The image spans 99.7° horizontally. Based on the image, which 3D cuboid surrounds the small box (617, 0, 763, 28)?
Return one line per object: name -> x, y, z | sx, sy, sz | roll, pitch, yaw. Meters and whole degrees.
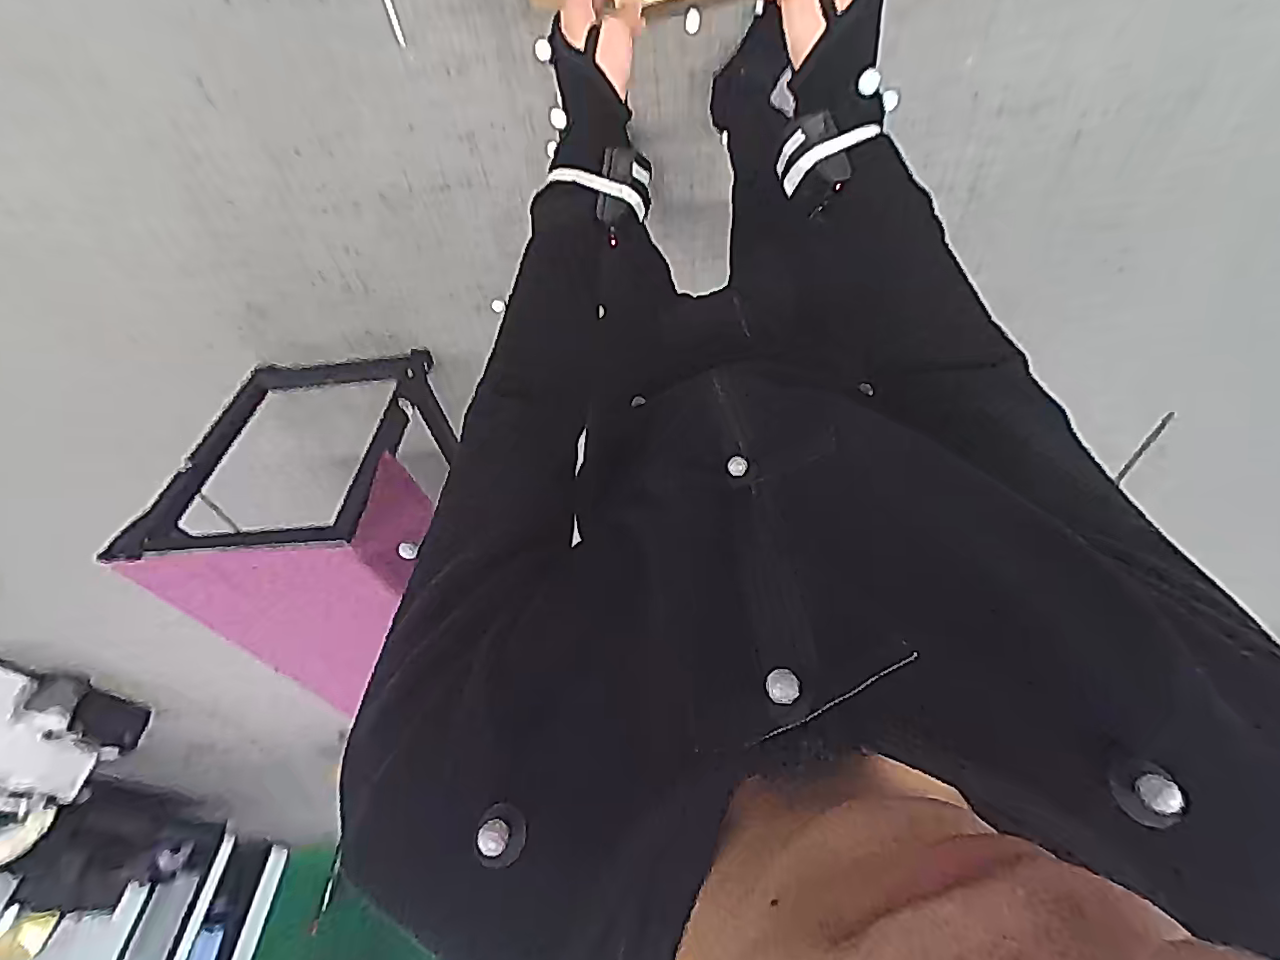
small box -> 0.050, -0.519, 0.458 | 0.168, 0.176, 0.179 | -6, 125, 10
